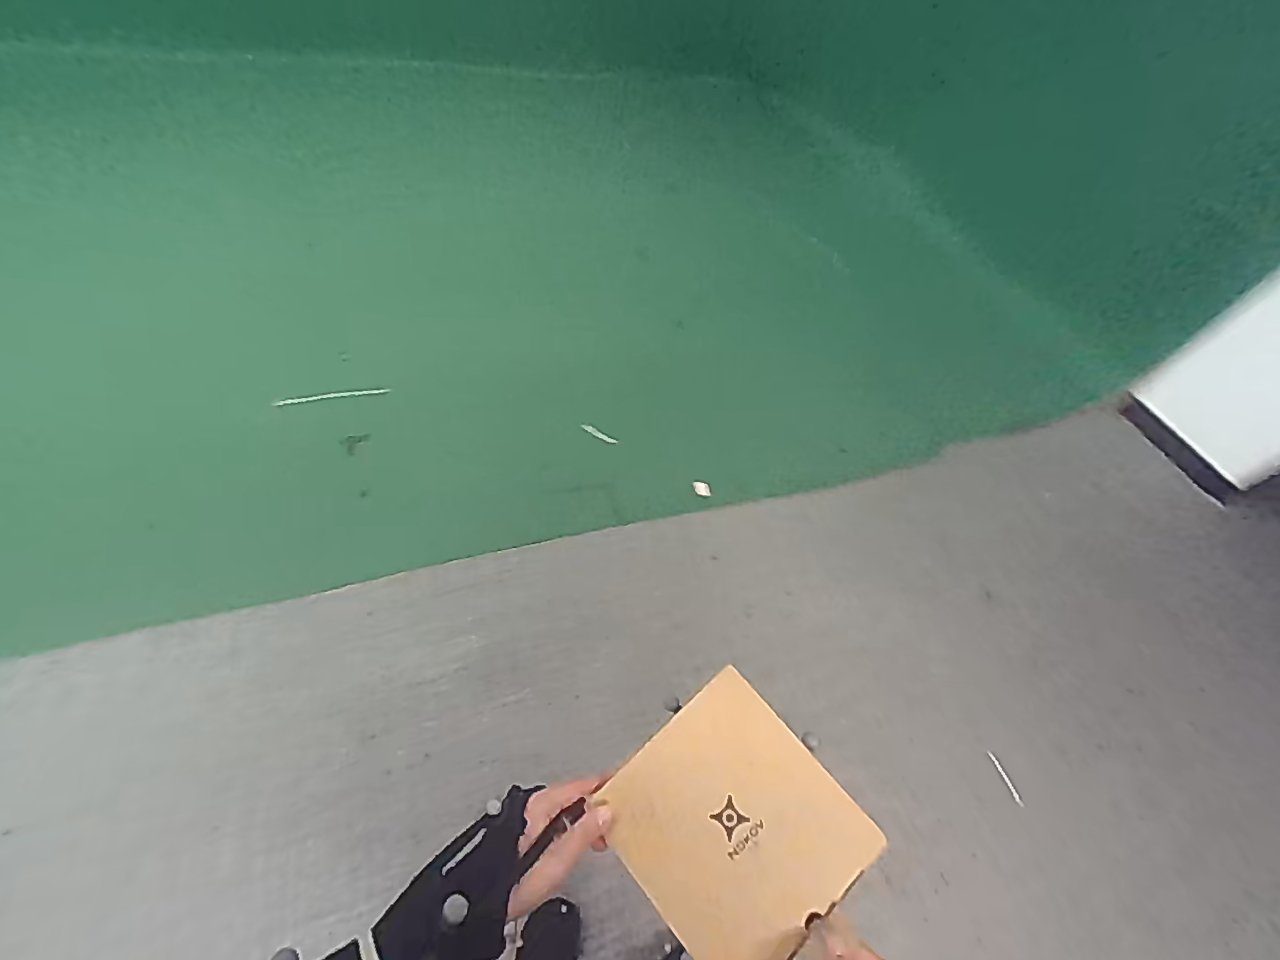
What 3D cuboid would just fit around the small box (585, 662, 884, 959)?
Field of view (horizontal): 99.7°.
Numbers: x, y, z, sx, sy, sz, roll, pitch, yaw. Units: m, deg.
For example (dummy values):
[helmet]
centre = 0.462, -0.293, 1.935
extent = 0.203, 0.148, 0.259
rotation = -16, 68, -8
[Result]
[small box]
centre = 0.073, 0.294, 0.493
extent = 0.168, 0.176, 0.179
rotation = -42, 74, -13
